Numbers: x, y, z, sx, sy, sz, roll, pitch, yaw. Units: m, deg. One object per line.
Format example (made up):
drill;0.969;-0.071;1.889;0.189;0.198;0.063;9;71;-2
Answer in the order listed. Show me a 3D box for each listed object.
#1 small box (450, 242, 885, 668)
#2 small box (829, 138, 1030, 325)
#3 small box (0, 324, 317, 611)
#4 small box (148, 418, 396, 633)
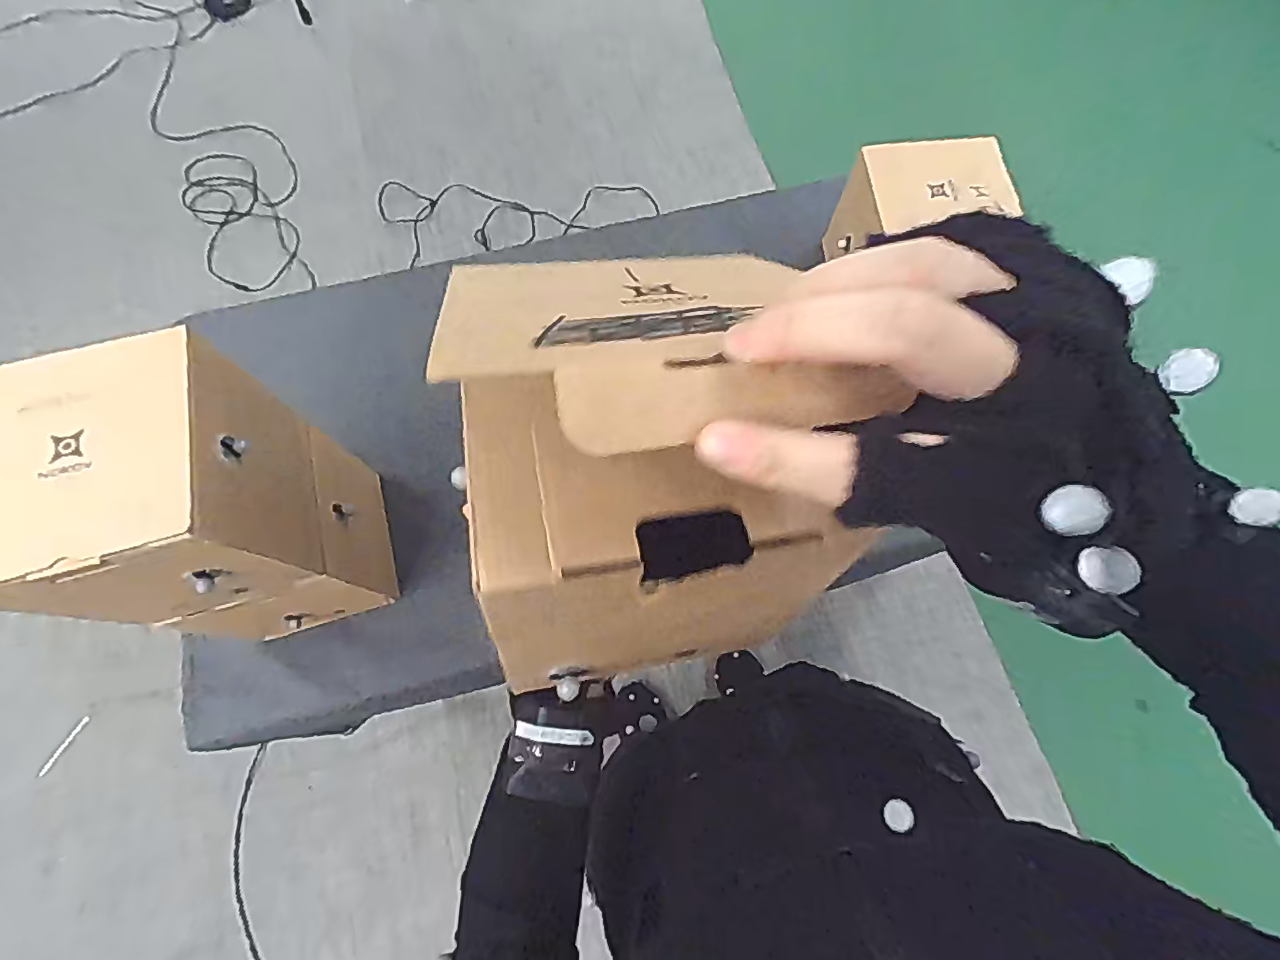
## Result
small box;-0.005;-0.006;0.307;0.168;0.176;0.179;-8;57;-12
small box;0.372;-0.327;0.737;0.179;0.176;0.168;-3;71;-1
small box;-0.399;0.004;0.455;0.168;0.176;0.179;-15;71;-6
small box;-0.399;0.060;0.608;0.168;0.176;0.179;-16;72;-6
